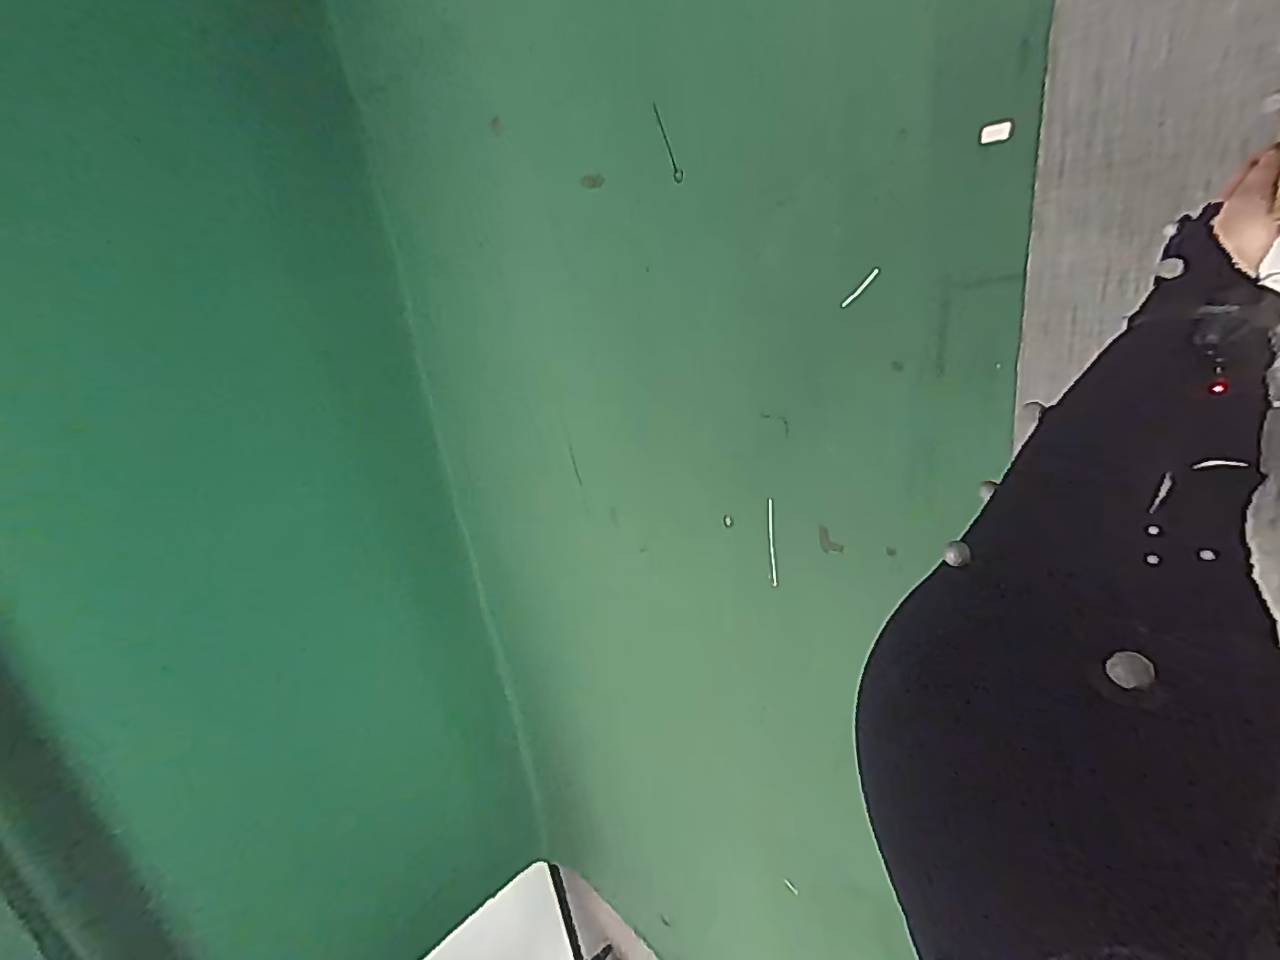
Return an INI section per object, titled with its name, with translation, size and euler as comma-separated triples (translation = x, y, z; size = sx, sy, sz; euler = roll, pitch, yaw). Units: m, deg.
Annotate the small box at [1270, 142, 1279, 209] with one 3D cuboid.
[small box]
translation = 0.541, -0.272, 0.336
size = 0.179, 0.176, 0.168
euler = 12, 115, 45
